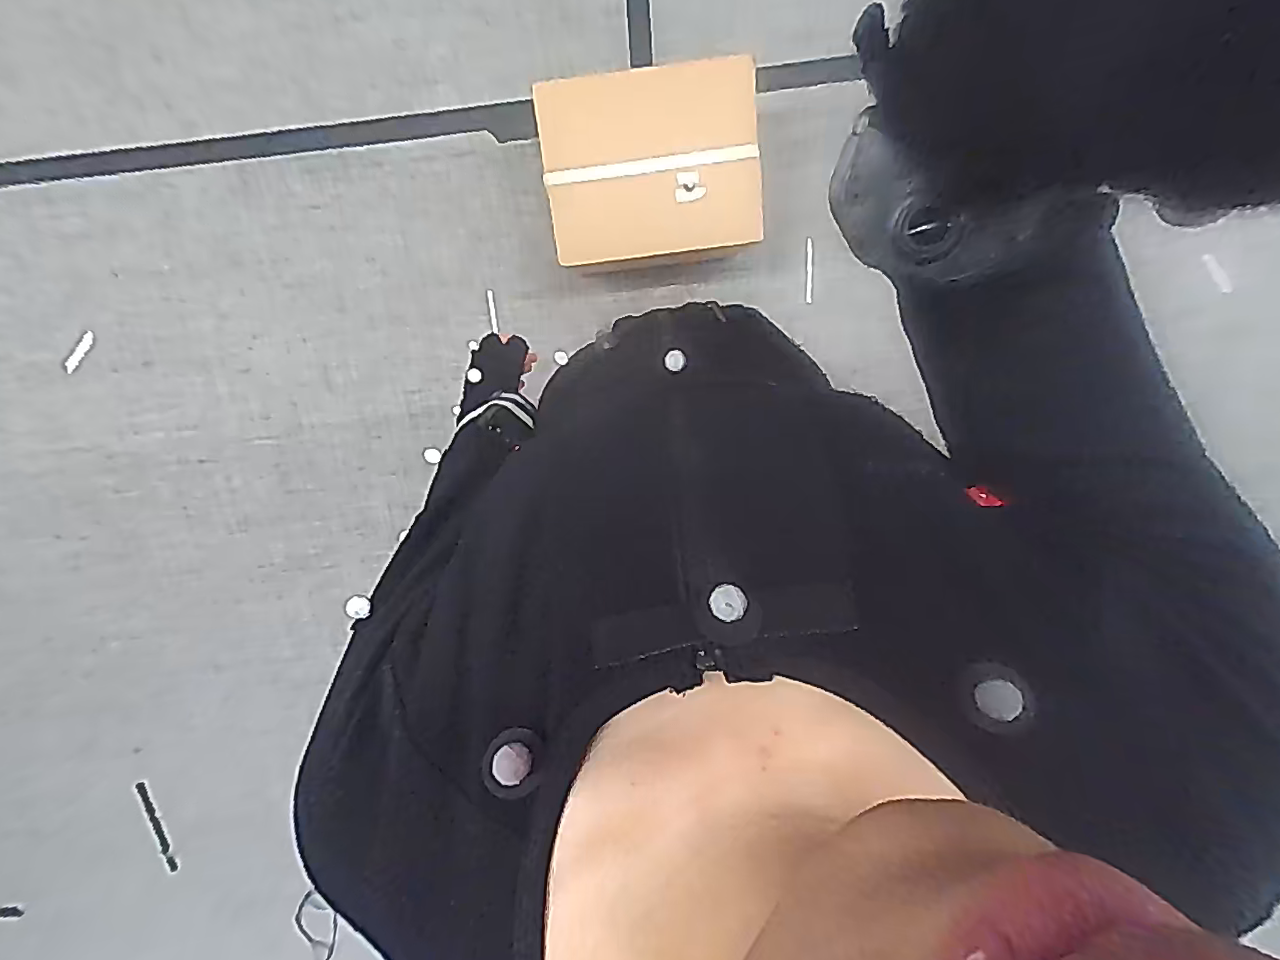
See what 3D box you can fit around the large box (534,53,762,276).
[{"bbox_3d":[0.018,-0.635,1.155,0.408,0.320,0.320,-7,108,1],"label":"large box"}]
